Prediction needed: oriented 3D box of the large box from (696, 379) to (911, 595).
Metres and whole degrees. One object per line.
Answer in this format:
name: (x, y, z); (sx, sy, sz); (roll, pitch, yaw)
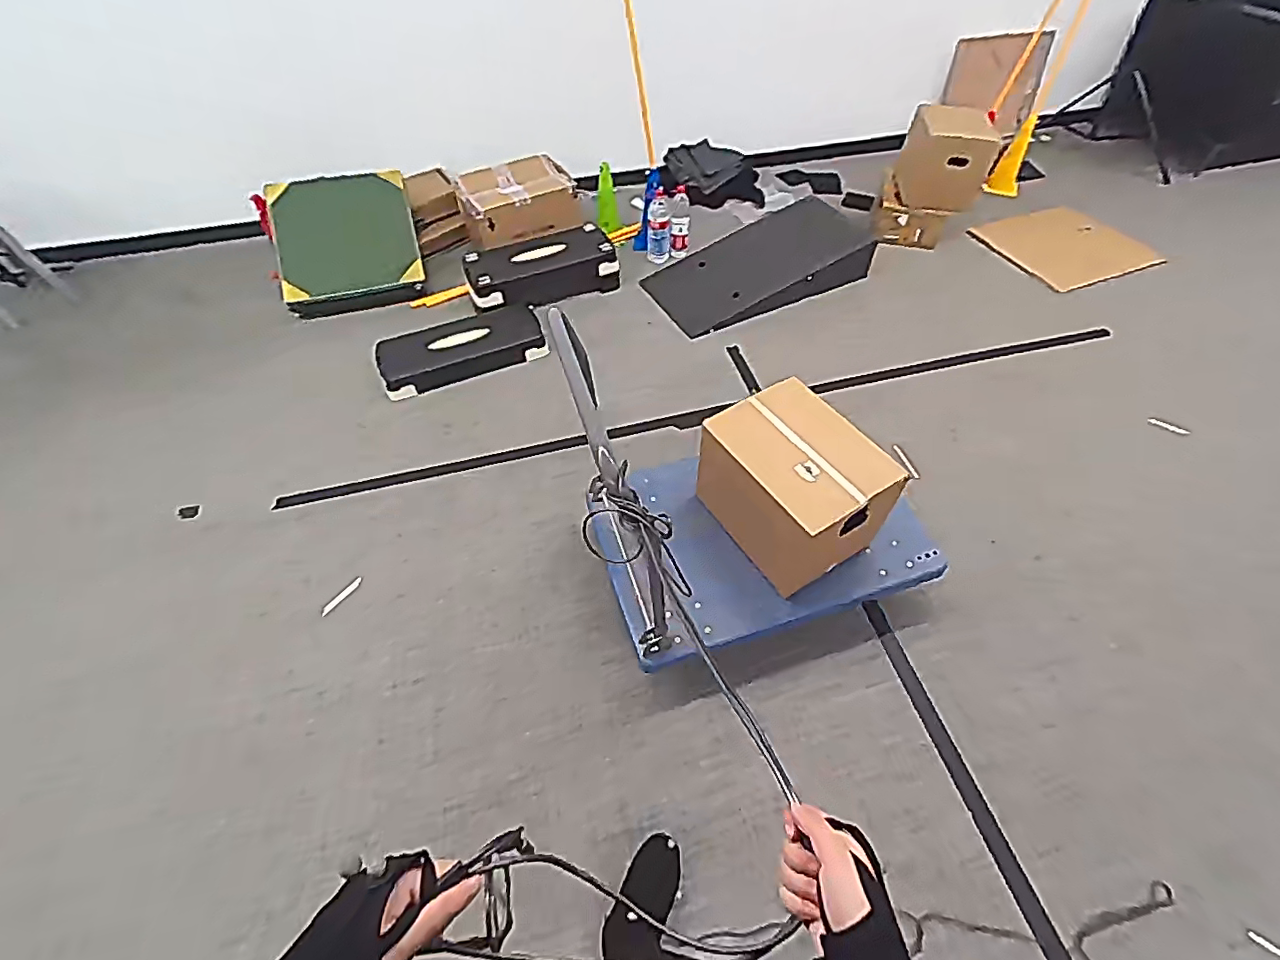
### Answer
large box: (0.392, 0.015, 1.413); (0.320, 0.320, 0.408); (-28, 58, -17)
